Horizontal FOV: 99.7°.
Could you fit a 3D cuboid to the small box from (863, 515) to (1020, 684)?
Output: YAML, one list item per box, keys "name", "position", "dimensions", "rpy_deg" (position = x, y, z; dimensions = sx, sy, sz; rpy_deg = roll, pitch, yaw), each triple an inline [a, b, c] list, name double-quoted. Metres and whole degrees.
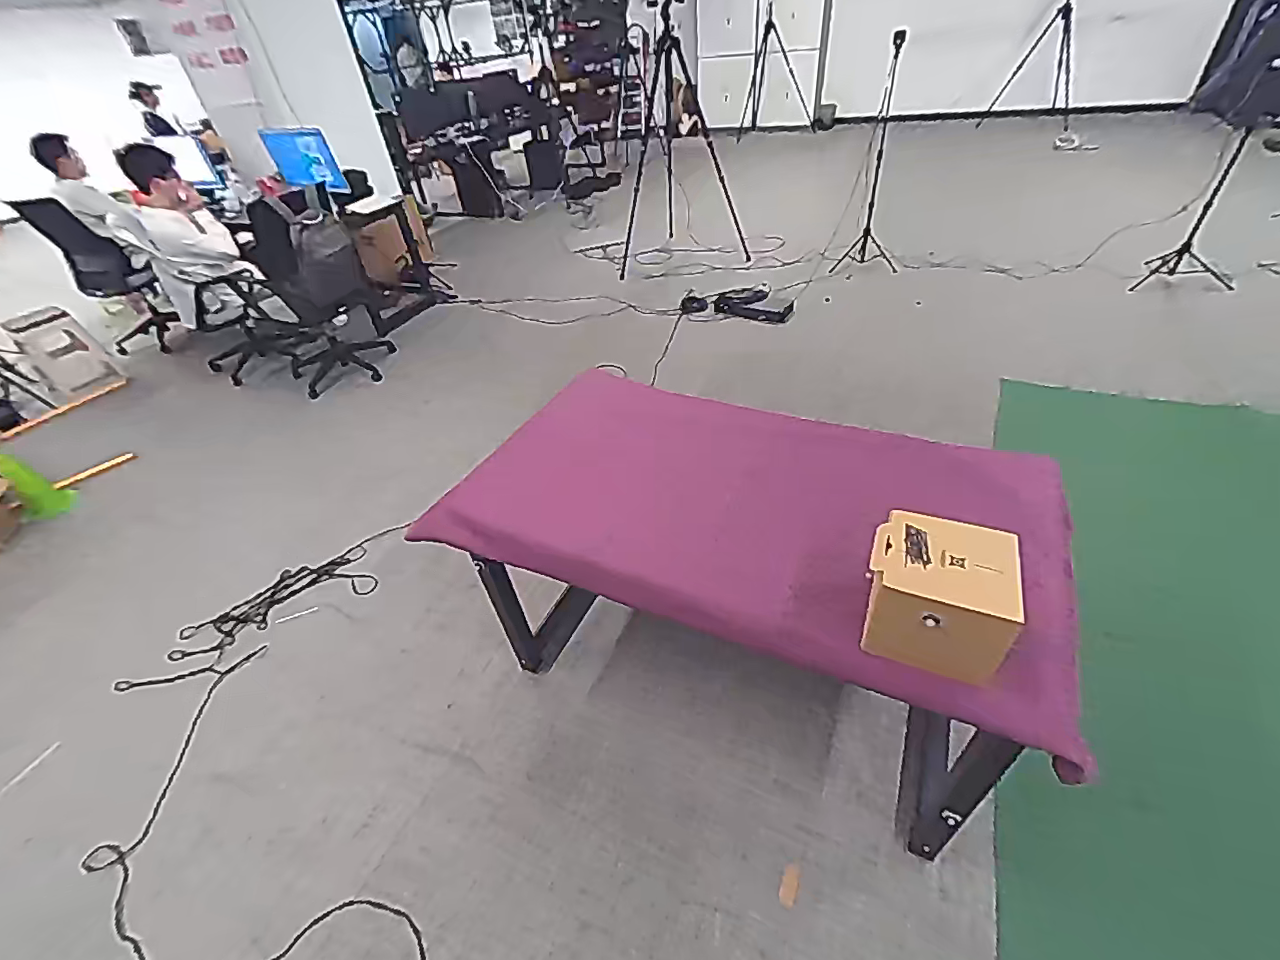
- name: "small box"
  position: [0.454, 0.184, 0.833]
  dimensions: [0.179, 0.176, 0.168]
  rpy_deg: [13, 44, 22]
